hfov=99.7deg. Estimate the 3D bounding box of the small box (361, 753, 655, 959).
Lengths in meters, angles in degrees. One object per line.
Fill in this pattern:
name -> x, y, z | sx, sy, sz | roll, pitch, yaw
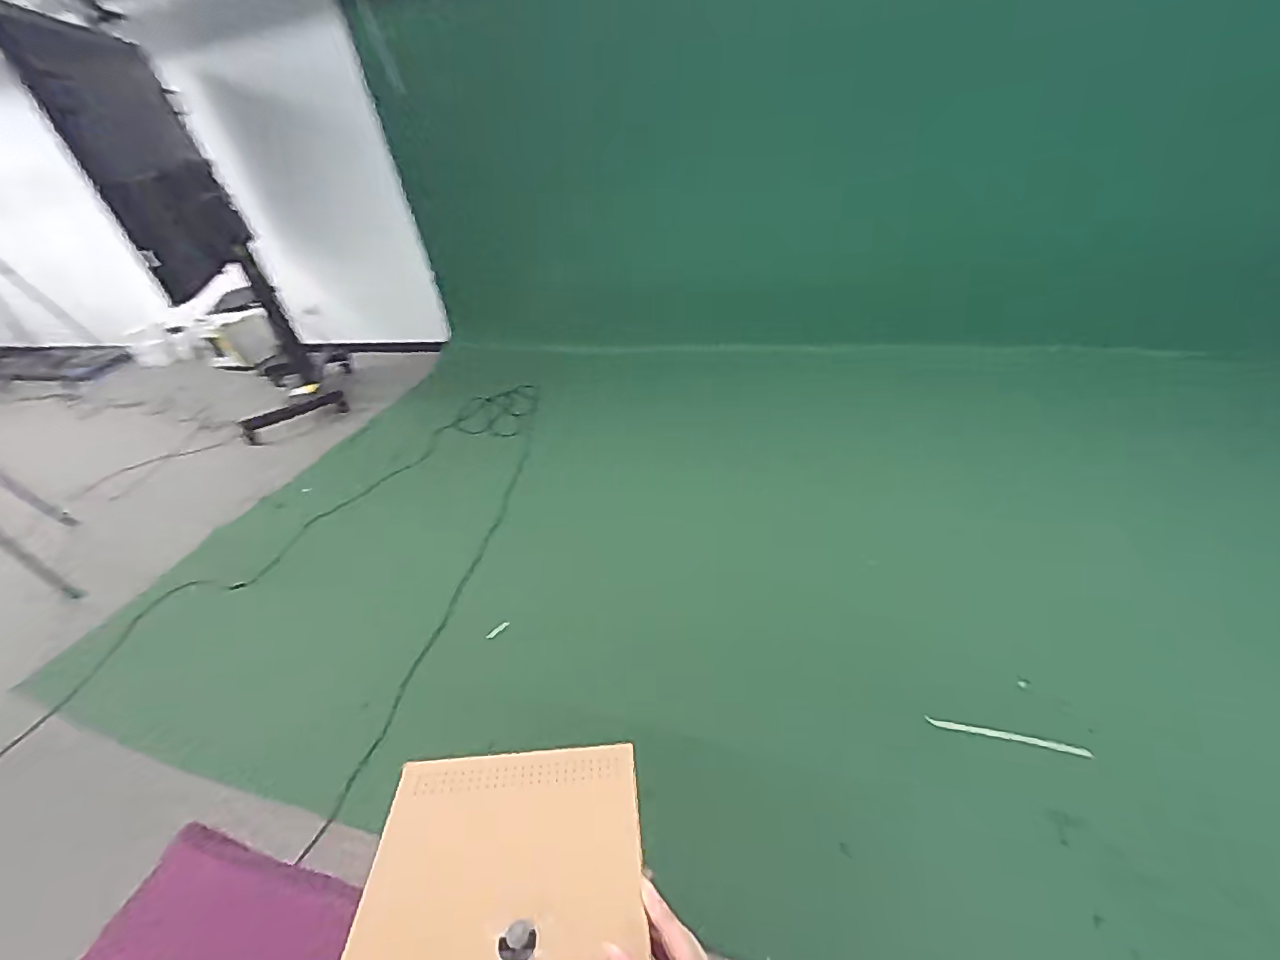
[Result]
small box -> -0.081, 0.319, 0.382 | 0.179, 0.168, 0.176 | -2, 26, -3
